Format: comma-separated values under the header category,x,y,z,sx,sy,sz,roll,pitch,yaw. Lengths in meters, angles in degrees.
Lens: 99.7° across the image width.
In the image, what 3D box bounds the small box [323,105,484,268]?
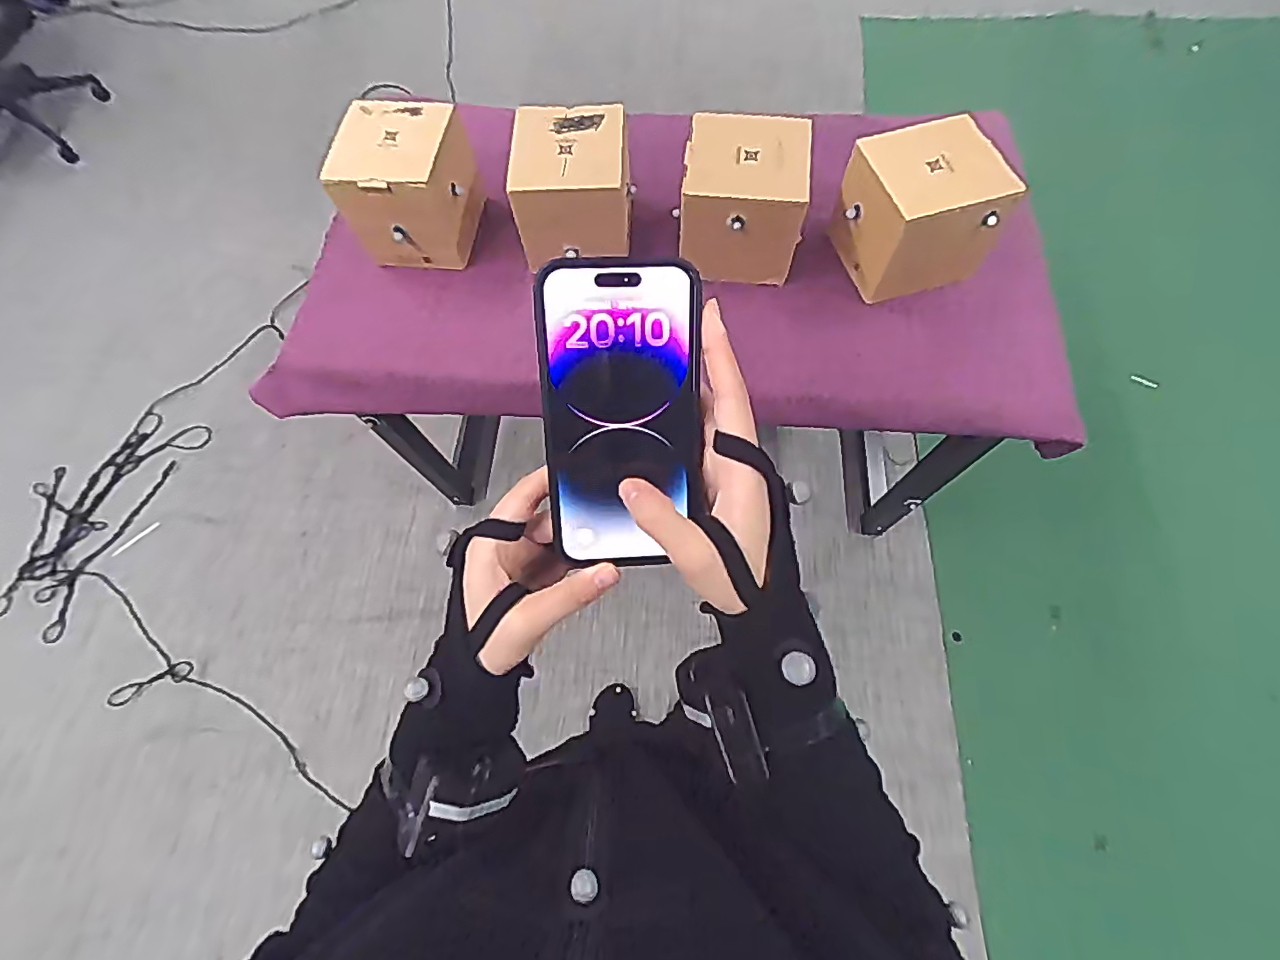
category,x,y,z,sx,sy,sz,roll,pitch,yaw
small box,-0.371,-0.473,0.885,0.168,0.176,0.179,5,69,4

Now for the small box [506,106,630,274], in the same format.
category,x,y,z,sx,sy,sz,roll,pitch,yaw
small box,-0.104,-0.456,0.865,0.168,0.176,0.179,0,69,3

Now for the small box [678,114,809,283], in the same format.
category,x,y,z,sx,sy,sz,roll,pitch,yaw
small box,0.154,-0.431,0.842,0.179,0.176,0.168,7,69,5

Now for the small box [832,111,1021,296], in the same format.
category,x,y,z,sx,sy,sz,roll,pitch,yaw
small box,0.410,-0.407,0.818,0.179,0.176,0.168,-16,67,-4
